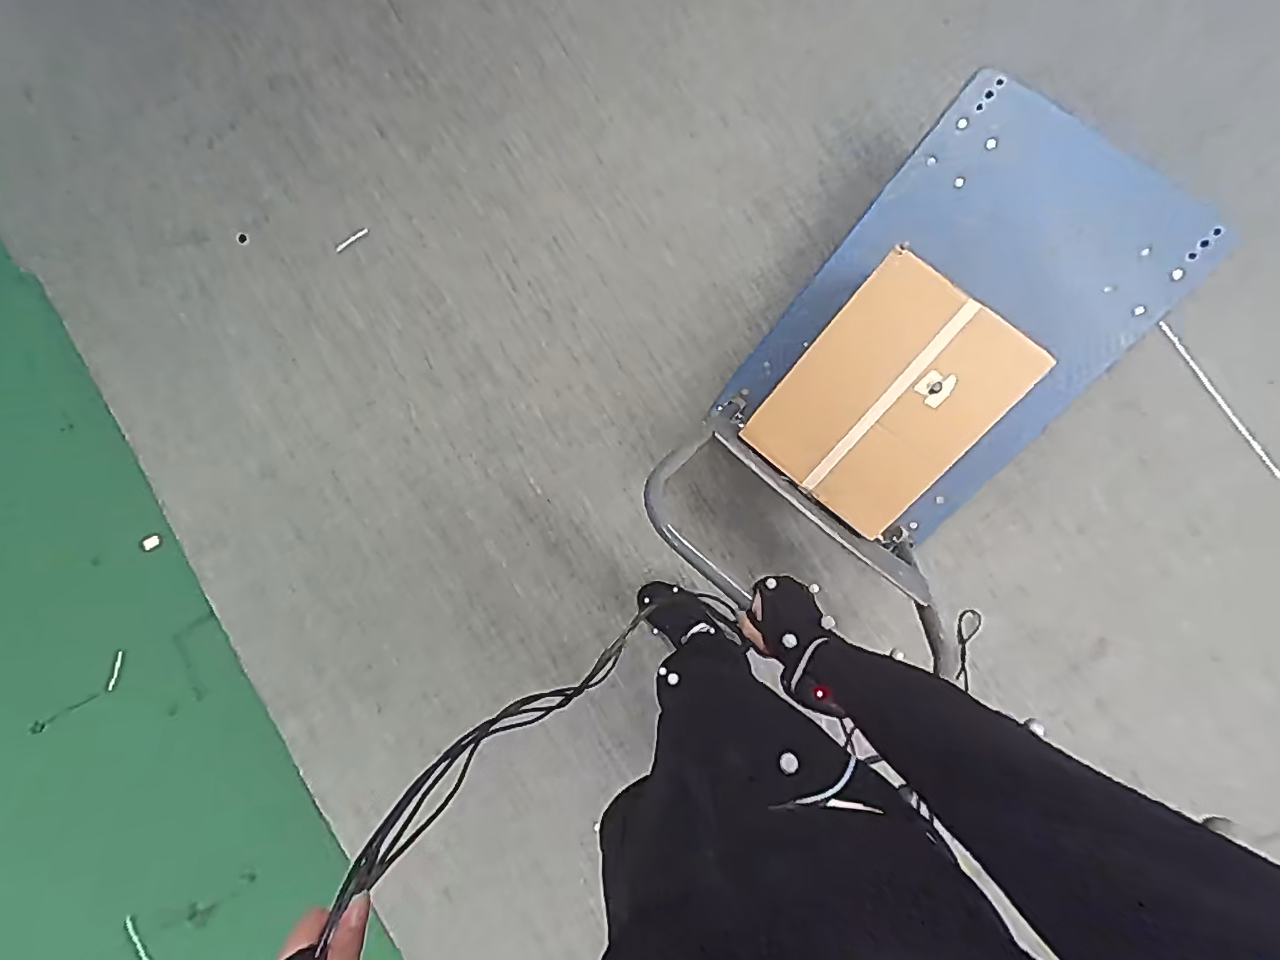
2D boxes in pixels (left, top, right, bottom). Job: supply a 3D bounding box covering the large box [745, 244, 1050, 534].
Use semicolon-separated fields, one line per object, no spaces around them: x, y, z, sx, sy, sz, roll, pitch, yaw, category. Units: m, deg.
0.463;-0.168;1.069;0.320;0.320;0.408;41;109;5;large box
